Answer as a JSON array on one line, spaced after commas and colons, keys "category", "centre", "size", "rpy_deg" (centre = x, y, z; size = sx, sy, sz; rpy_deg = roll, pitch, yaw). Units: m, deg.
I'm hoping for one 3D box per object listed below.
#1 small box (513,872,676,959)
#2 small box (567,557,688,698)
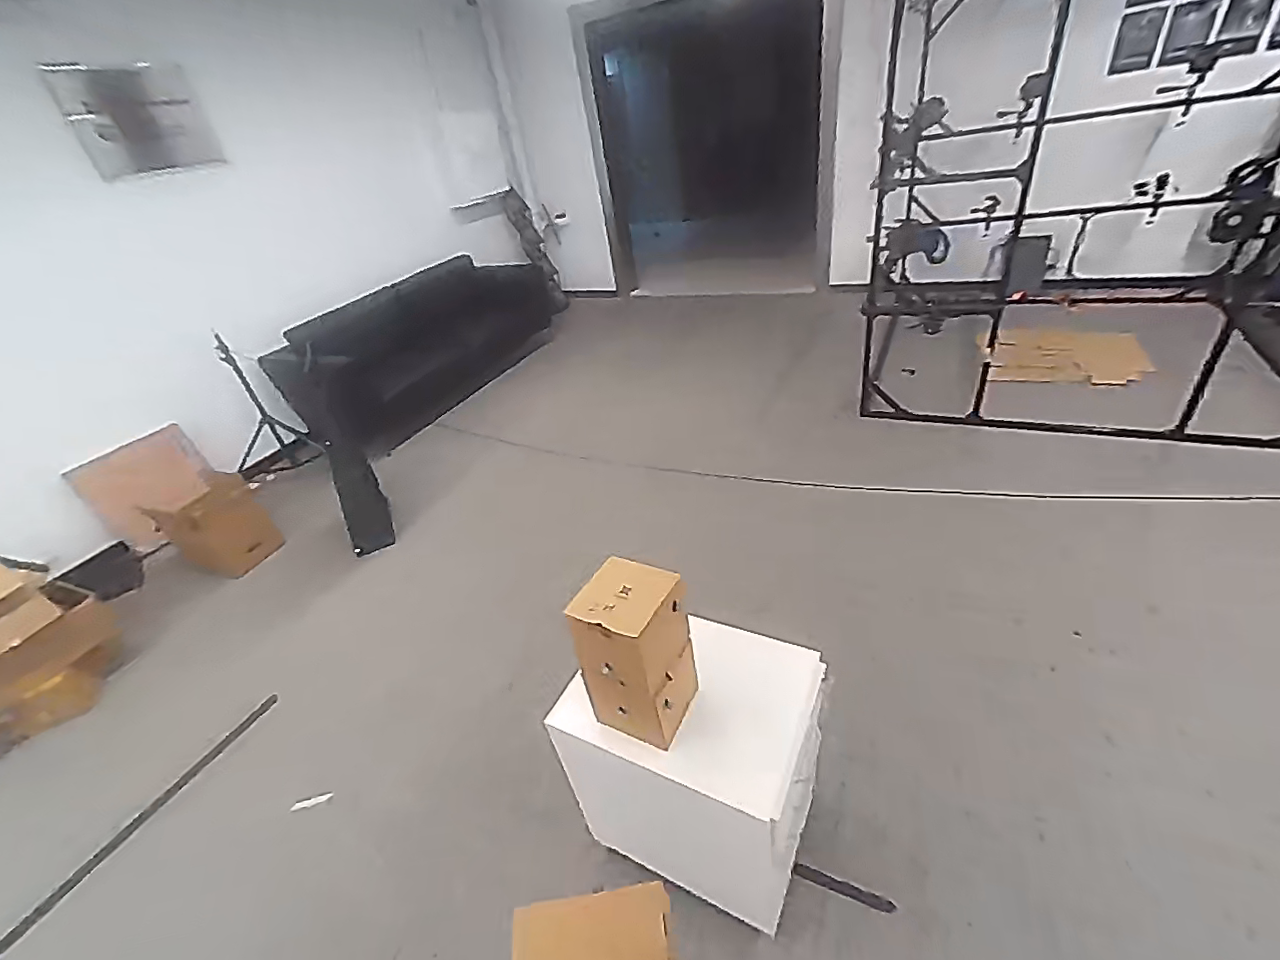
[{"category": "small box", "centre": [-0.044, 0.589, 0.637], "size": [0.179, 0.176, 0.168], "rpy_deg": [-8, 46, -3]}, {"category": "small box", "centre": [-0.015, 0.285, 1.059], "size": [0.168, 0.176, 0.179], "rpy_deg": [11, 38, 30]}]
